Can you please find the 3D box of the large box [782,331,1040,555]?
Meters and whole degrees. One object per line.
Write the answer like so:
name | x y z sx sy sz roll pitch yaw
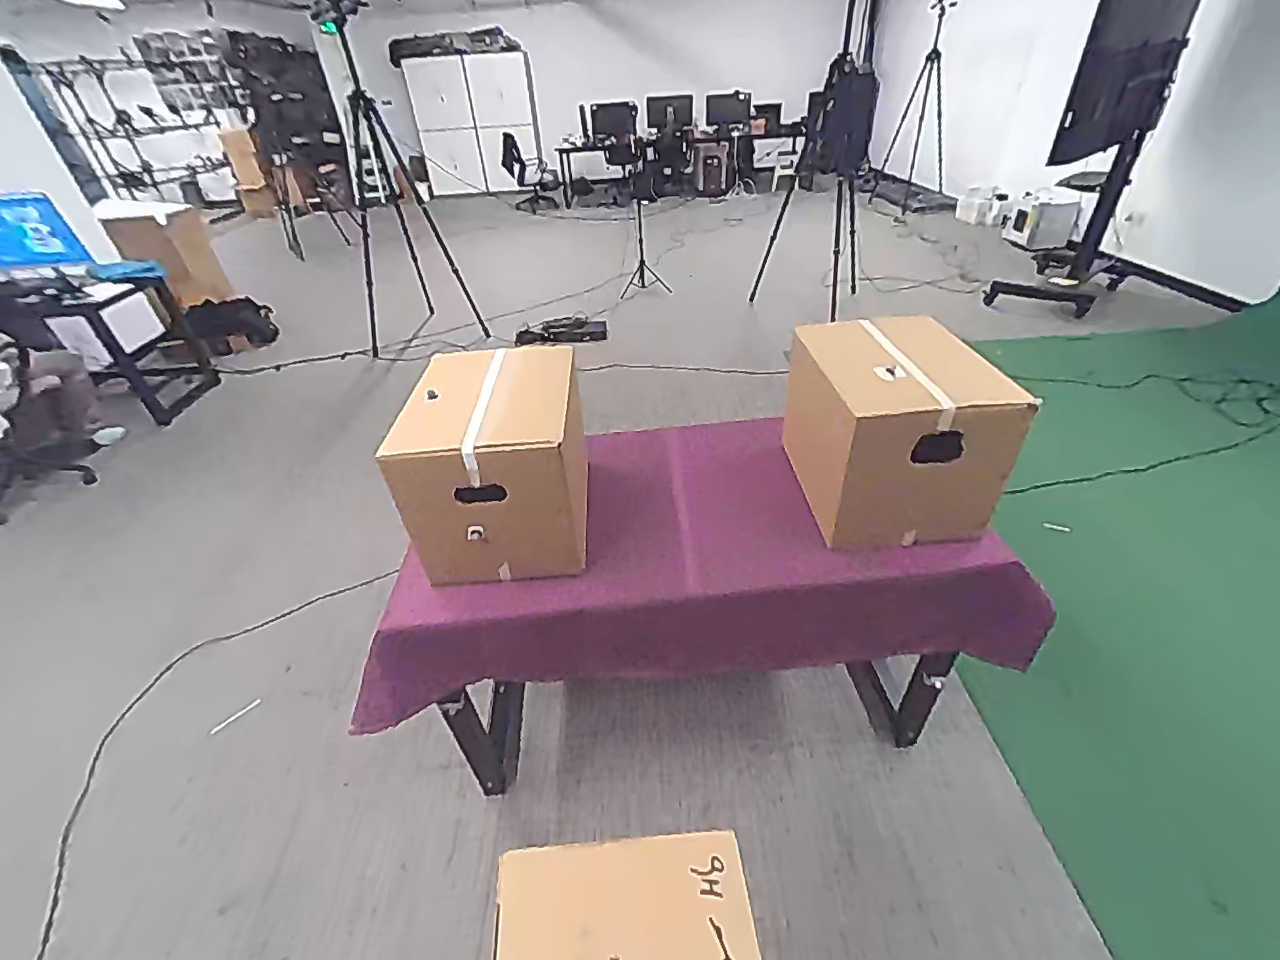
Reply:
large box | 0.521 -0.093 1.157 0.320 0.320 0.408 -4 37 0
